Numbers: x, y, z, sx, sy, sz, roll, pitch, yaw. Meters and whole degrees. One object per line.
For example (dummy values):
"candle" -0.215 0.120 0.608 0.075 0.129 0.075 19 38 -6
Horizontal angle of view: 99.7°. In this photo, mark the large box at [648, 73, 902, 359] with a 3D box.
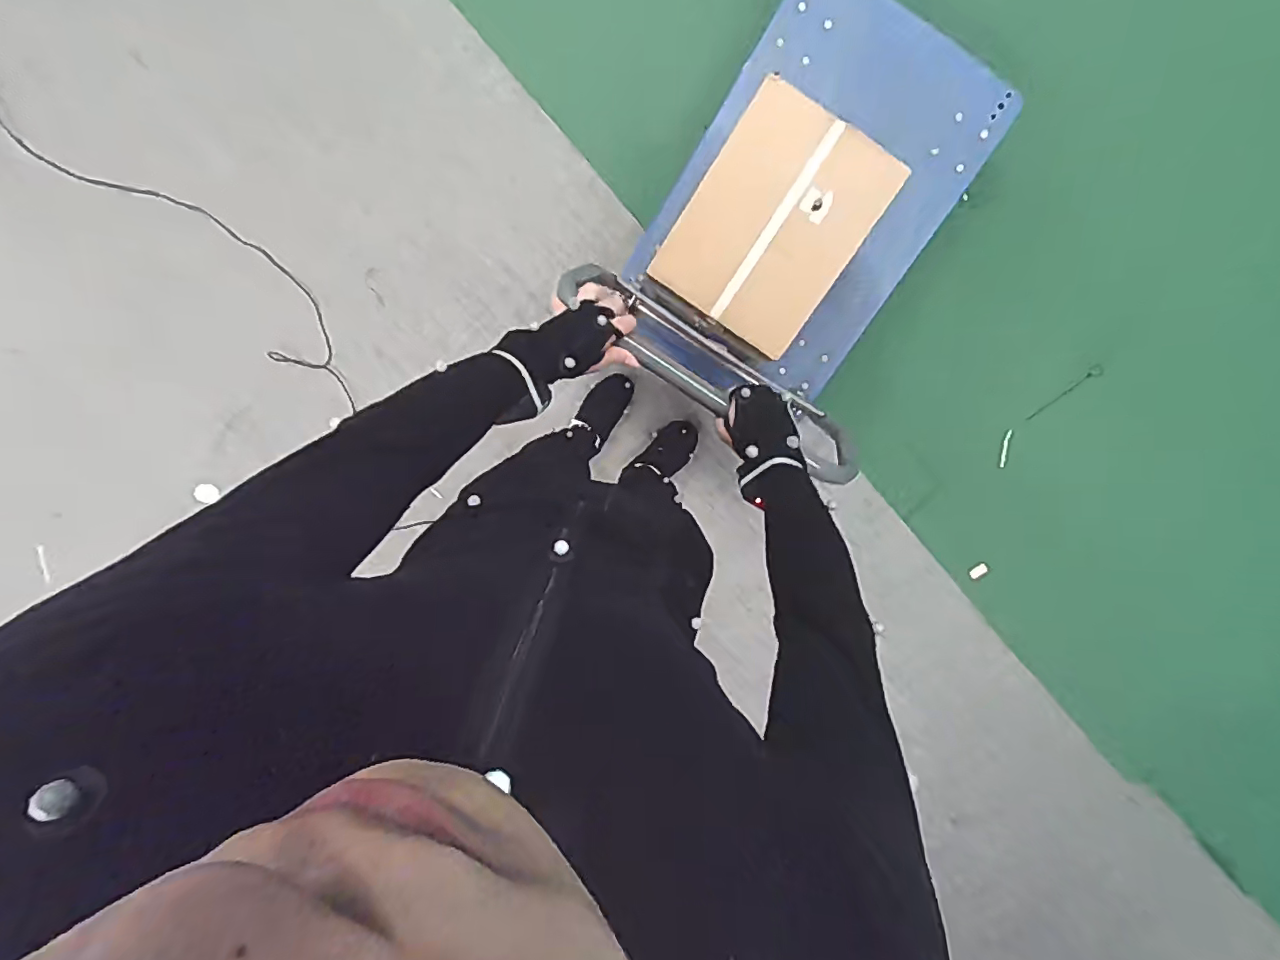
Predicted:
"large box" 0.257 -0.514 1.157 0.320 0.320 0.408 34 102 -3
